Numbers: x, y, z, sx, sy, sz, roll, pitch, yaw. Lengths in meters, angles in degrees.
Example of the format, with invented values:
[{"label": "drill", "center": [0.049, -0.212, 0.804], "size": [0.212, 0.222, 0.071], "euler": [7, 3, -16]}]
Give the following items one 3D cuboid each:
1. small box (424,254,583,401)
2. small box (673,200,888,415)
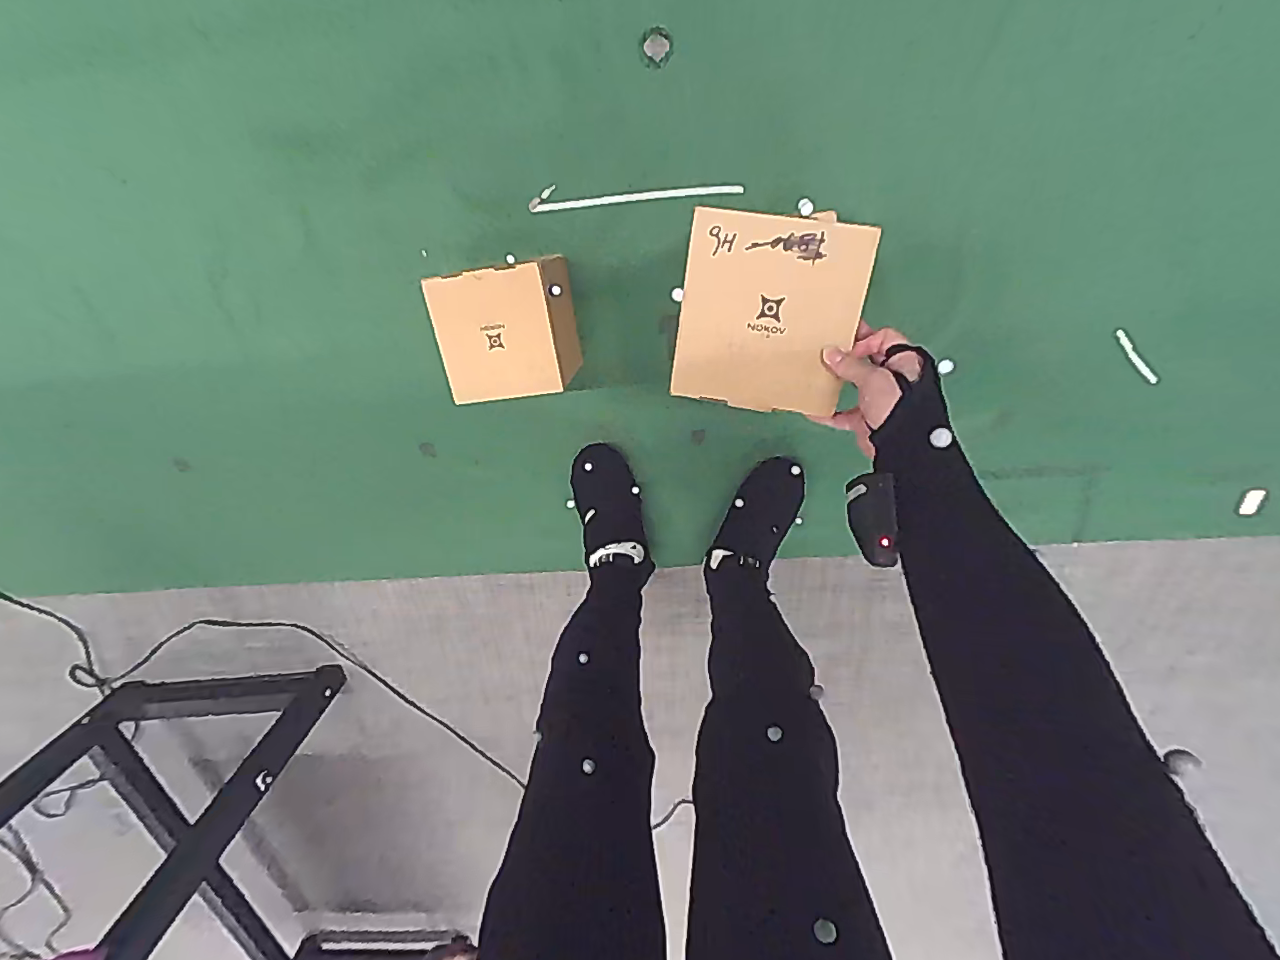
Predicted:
[{"label": "small box", "center": [-0.188, -0.232, 0.811], "size": [0.168, 0.176, 0.179], "euler": [-6, 114, 7]}, {"label": "small box", "center": [0.133, -0.186, 0.574], "size": [0.168, 0.176, 0.179], "euler": [9, 115, 3]}]
